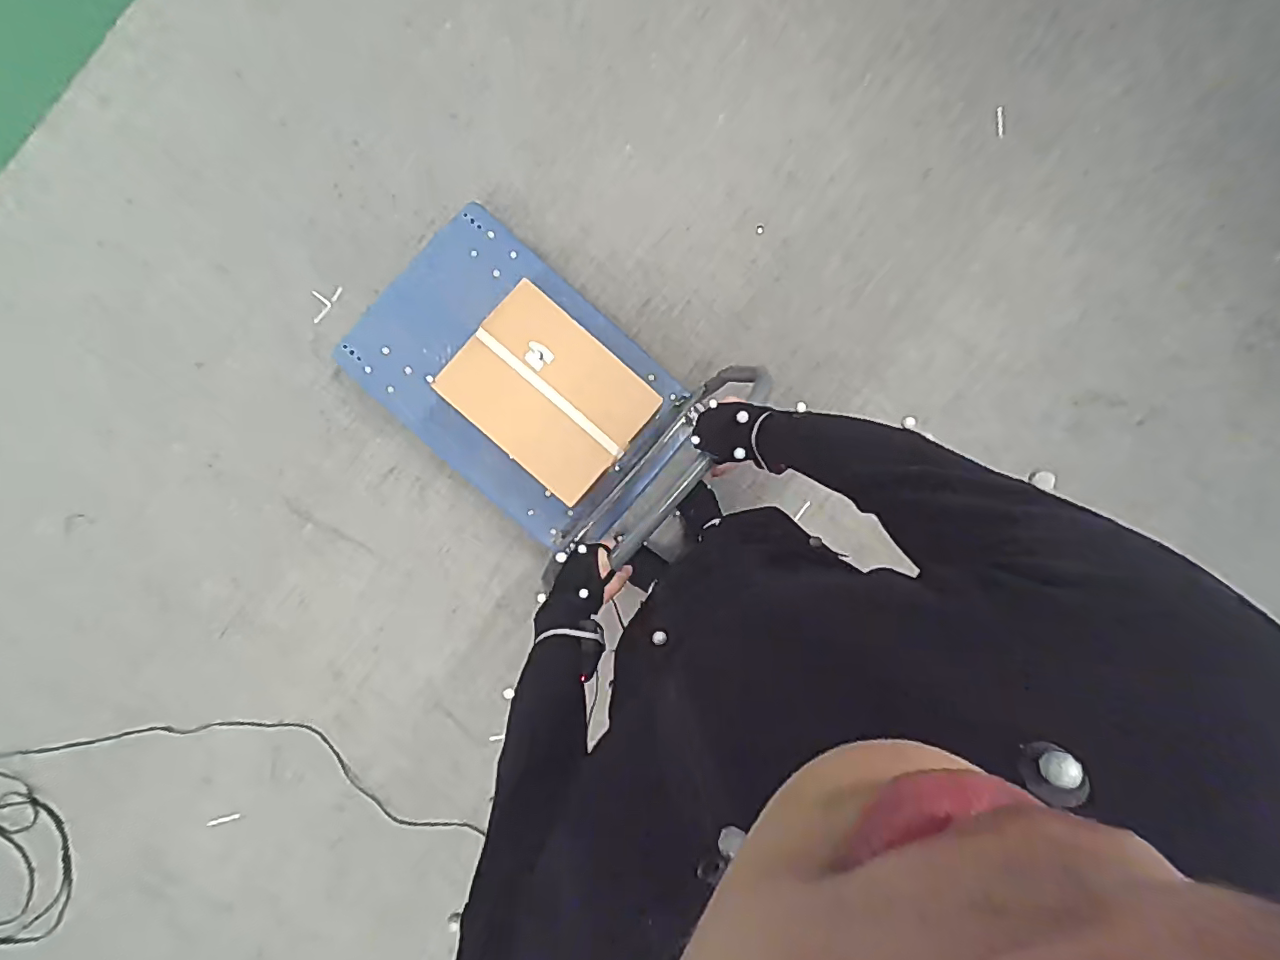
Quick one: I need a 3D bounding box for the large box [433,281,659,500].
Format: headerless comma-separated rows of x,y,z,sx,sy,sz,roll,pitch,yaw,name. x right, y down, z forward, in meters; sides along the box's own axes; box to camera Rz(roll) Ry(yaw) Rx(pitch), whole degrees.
-0.203,-0.192,1.320,0.408,0.320,0.320,41,88,0,large box
